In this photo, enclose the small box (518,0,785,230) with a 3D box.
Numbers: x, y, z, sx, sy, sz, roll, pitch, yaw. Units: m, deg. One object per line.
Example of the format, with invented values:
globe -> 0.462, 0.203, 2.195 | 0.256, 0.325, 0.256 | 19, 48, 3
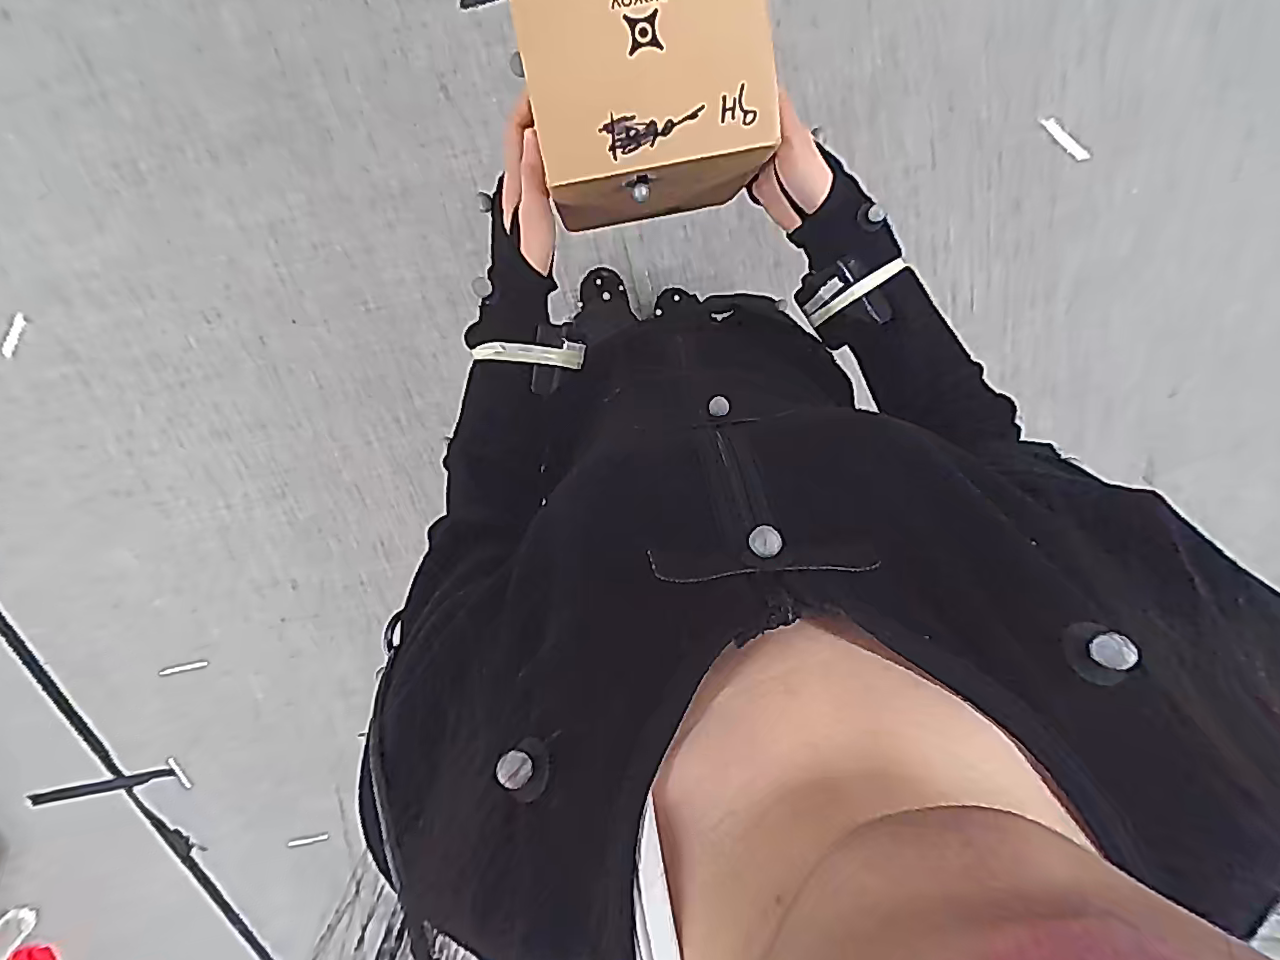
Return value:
small box -> 0.000, -0.317, 0.423 | 0.168, 0.176, 0.179 | -11, 105, 0
